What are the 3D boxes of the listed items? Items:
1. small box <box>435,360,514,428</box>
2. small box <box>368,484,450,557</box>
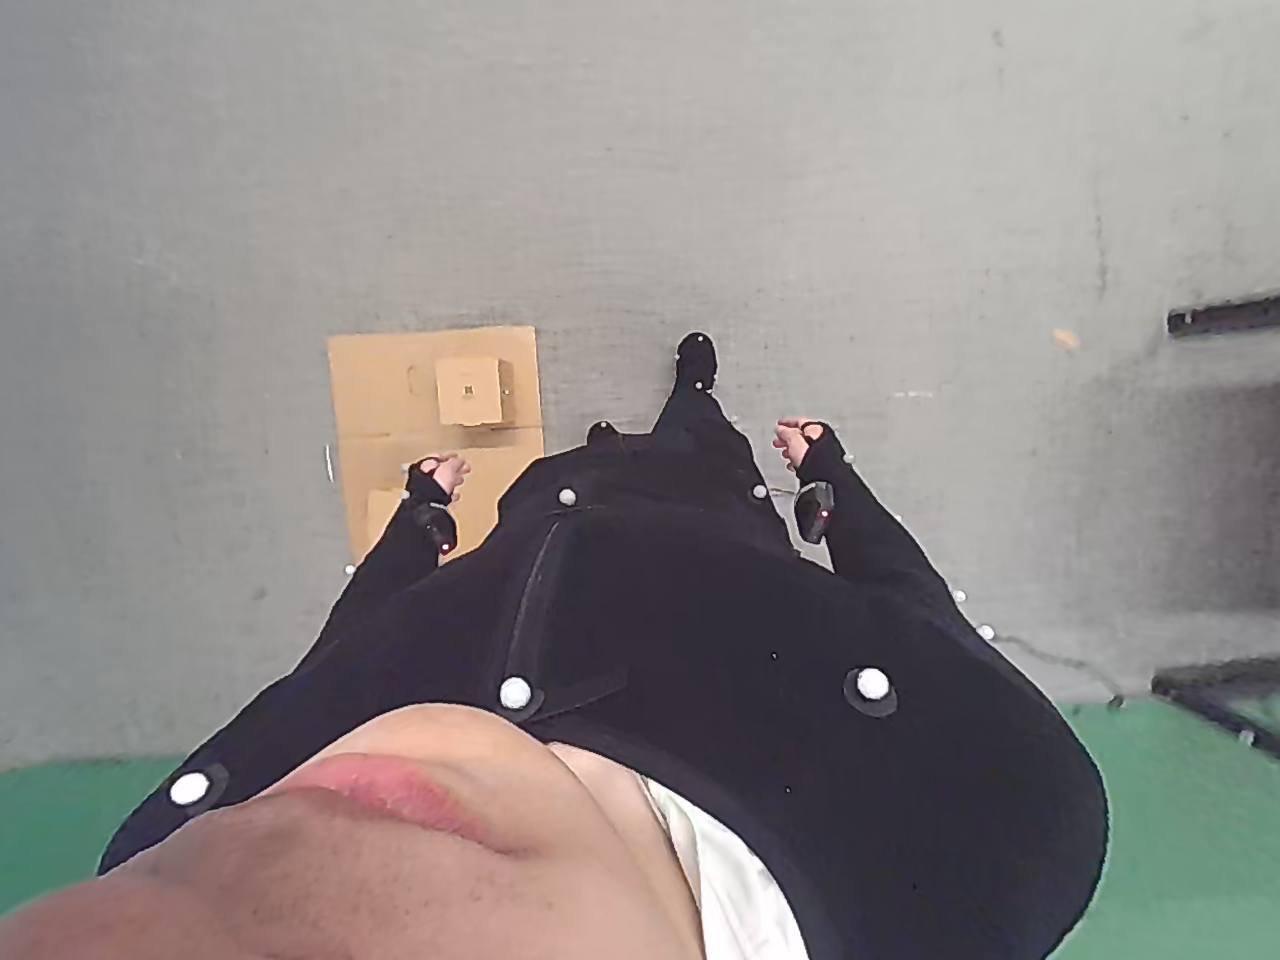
[{"bbox_3d":[-0.453,-0.239,1.501,0.168,0.176,0.179,-2,98,0],"label":"small box"},{"bbox_3d":[-0.654,0.109,1.545,0.168,0.176,0.179,5,97,-1],"label":"small box"}]
